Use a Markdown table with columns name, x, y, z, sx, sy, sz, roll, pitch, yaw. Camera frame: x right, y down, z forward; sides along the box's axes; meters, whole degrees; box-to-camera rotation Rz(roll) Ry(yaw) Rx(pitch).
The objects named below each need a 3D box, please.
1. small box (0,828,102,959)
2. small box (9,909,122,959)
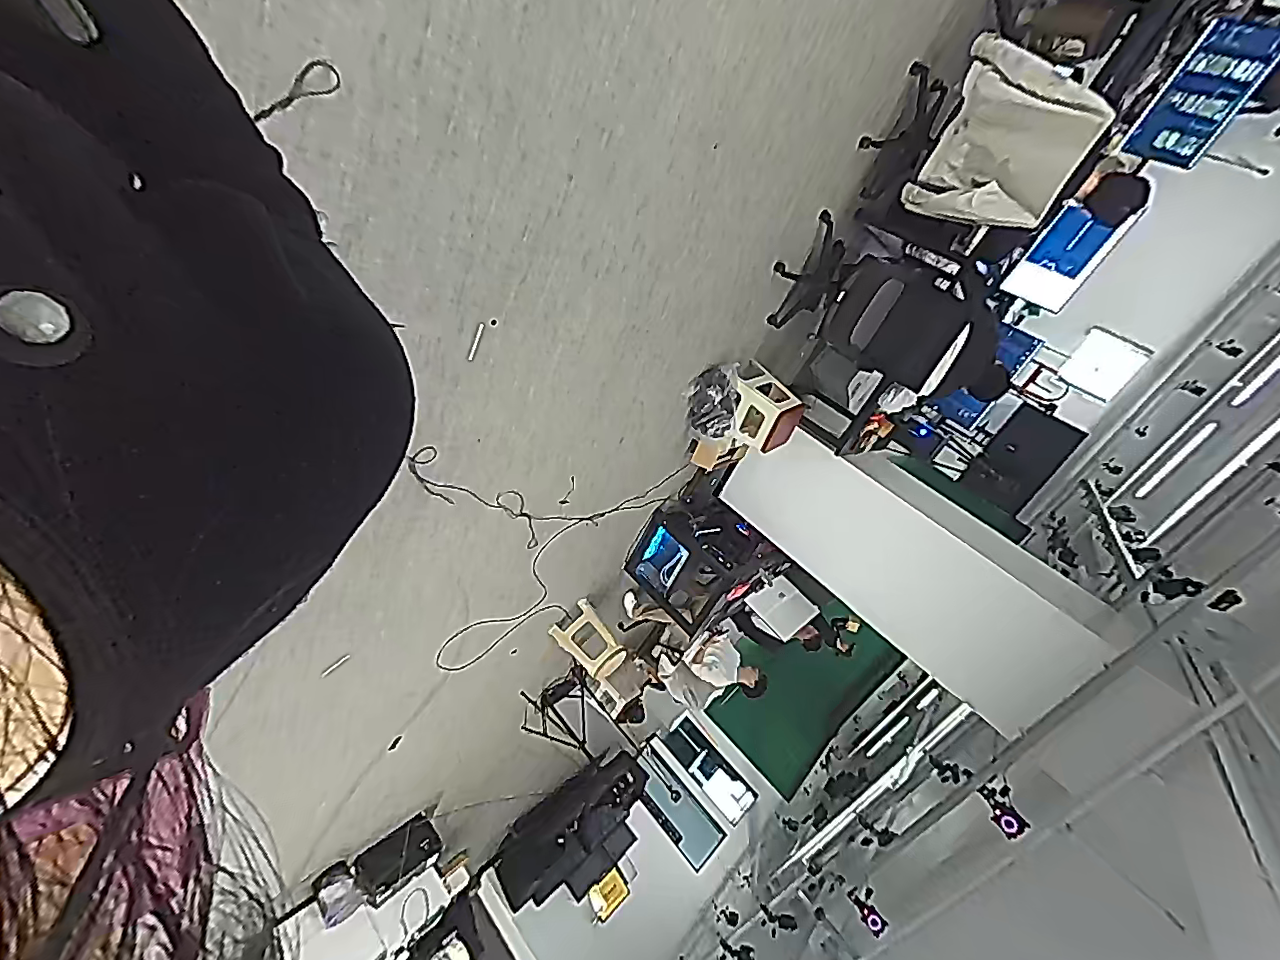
| name | x | y | z | sx | sy | sz | roll | pitch | yaw |
| --- | --- | --- | --- | --- | --- | --- | --- | --- | --- |
| small box | -1.039 | 0.740 | 0.912 | 0.168 | 0.176 | 0.179 | -13 | 137 | -51 |
| small box | -0.929 | 0.838 | 0.845 | 0.179 | 0.176 | 0.168 | -15 | 141 | -51 |
